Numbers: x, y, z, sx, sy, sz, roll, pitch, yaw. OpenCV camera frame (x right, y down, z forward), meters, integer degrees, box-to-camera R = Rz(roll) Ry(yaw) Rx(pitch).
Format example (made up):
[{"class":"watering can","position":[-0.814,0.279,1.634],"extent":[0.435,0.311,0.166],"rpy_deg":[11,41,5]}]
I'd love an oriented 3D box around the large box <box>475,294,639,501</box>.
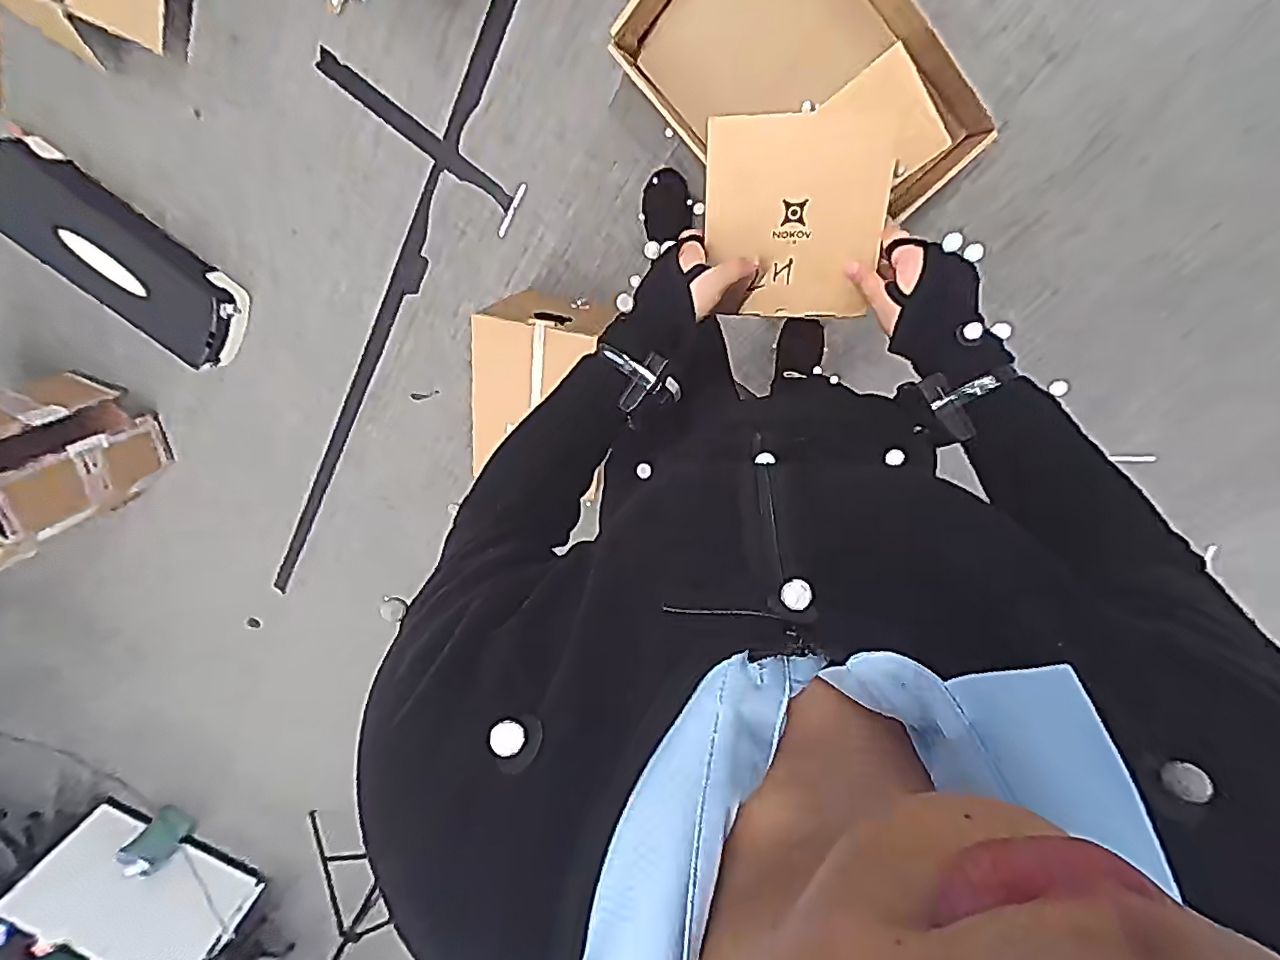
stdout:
[{"class":"large box","position":[-0.194,-0.217,1.348],"extent":[0.320,0.320,0.408],"rpy_deg":[12,120,6]}]

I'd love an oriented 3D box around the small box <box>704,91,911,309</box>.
[{"class":"small box","position":[0.160,-0.288,0.565],"extent":[0.168,0.176,0.179],"rpy_deg":[5,121,11]}]
